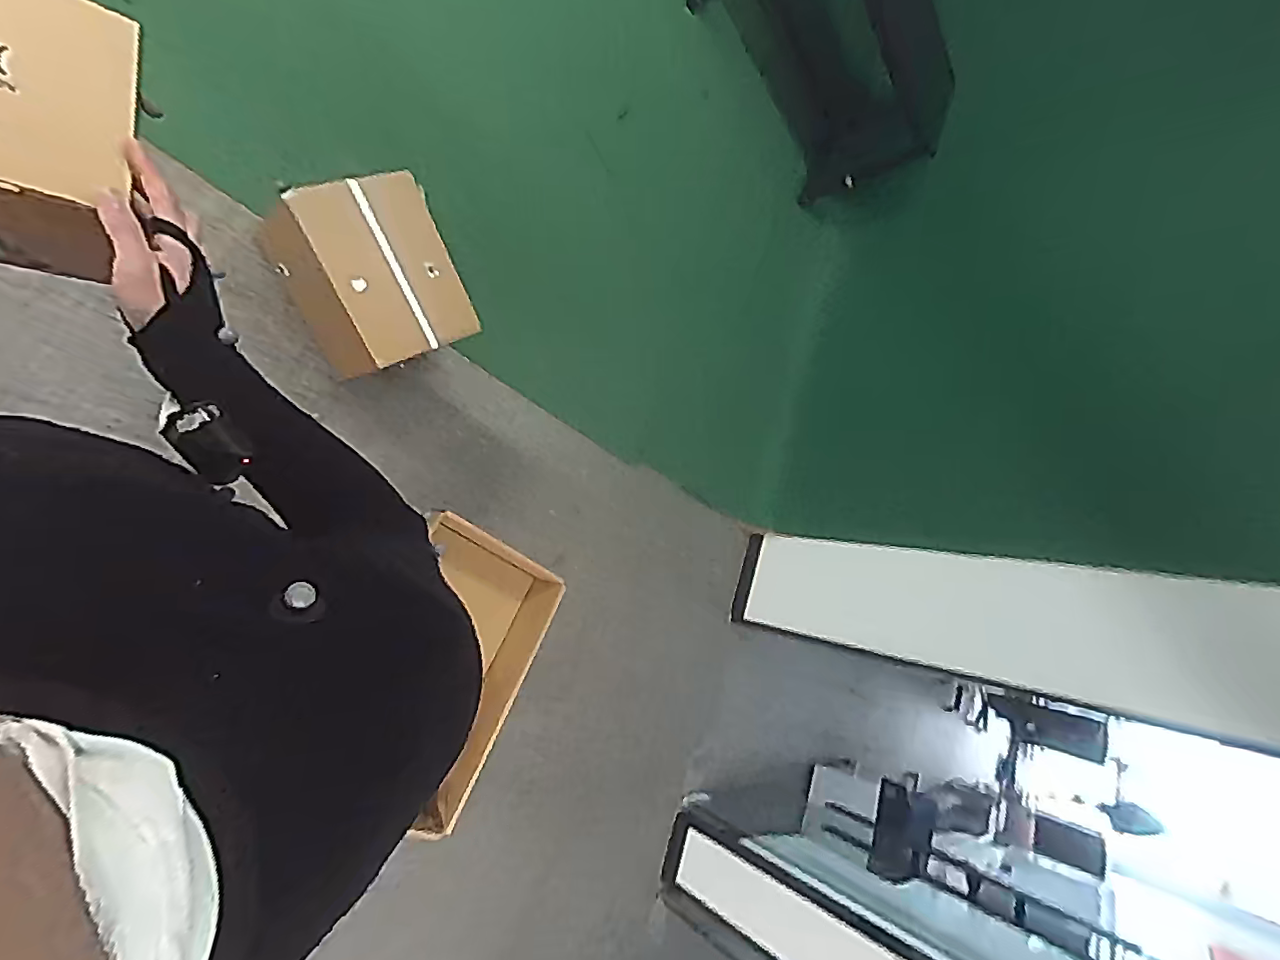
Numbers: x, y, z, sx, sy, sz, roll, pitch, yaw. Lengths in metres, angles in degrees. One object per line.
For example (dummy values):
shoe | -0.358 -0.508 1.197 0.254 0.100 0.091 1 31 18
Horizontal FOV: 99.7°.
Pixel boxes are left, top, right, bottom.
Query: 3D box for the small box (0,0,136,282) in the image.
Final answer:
small box | -0.534 -0.294 0.446 0.168 0.176 0.179 2 84 -43

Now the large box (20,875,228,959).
large box | -1.131 1.128 1.079 0.408 0.320 0.320 -52 125 -31
